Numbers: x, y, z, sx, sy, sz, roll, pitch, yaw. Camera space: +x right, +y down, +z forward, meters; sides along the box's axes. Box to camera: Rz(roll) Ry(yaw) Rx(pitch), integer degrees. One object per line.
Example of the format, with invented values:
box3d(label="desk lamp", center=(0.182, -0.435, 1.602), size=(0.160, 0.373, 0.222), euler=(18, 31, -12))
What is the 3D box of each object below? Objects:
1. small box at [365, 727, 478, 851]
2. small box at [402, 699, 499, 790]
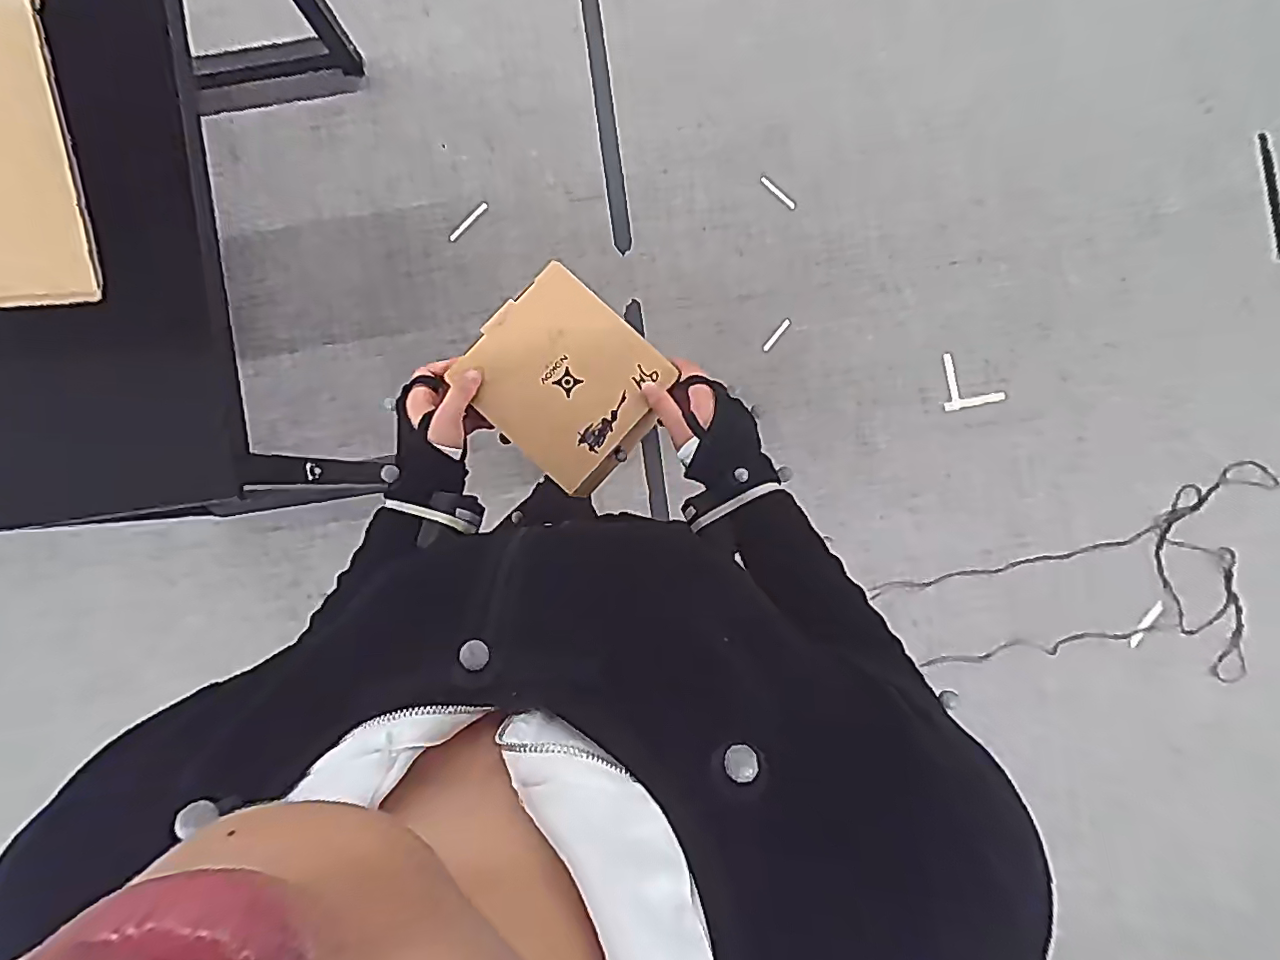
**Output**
box3d(label="small box", center=(-0.488, 0.696, 1.240), size=(0.179, 0.176, 0.168), euler=(-16, 89, 0))
box3d(label="small box", center=(-0.485, 0.693, 1.402), size=(0.179, 0.176, 0.168), euler=(-12, 90, -2))
